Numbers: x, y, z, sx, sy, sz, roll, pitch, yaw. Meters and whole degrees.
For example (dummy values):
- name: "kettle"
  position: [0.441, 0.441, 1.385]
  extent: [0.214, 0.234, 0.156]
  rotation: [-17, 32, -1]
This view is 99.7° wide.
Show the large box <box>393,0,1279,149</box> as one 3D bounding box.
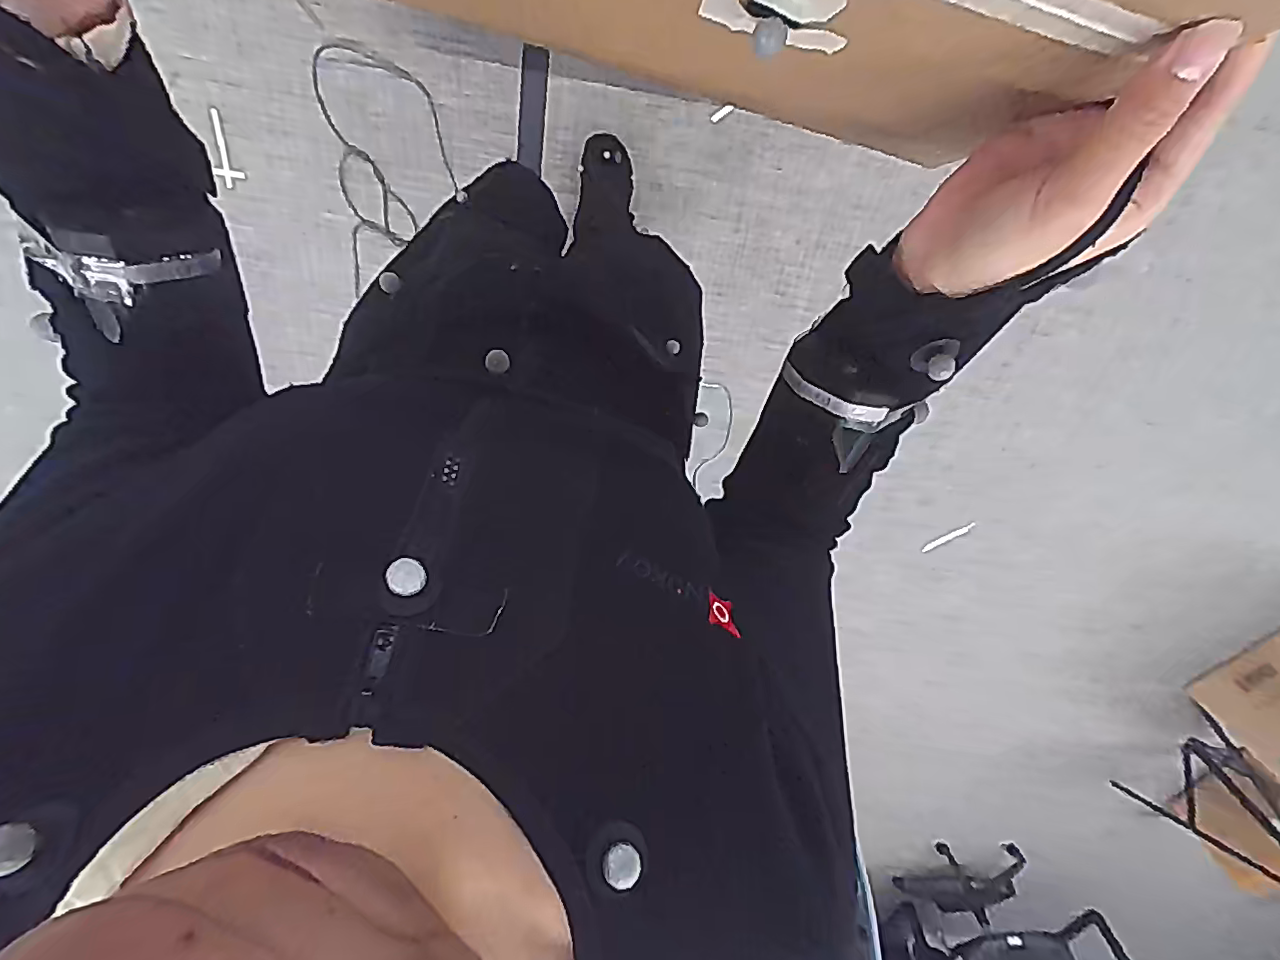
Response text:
- name: "large box"
  position: [0.020, -0.324, 0.107]
  extent: [0.408, 0.320, 0.320]
  rotation: [10, 108, -8]
